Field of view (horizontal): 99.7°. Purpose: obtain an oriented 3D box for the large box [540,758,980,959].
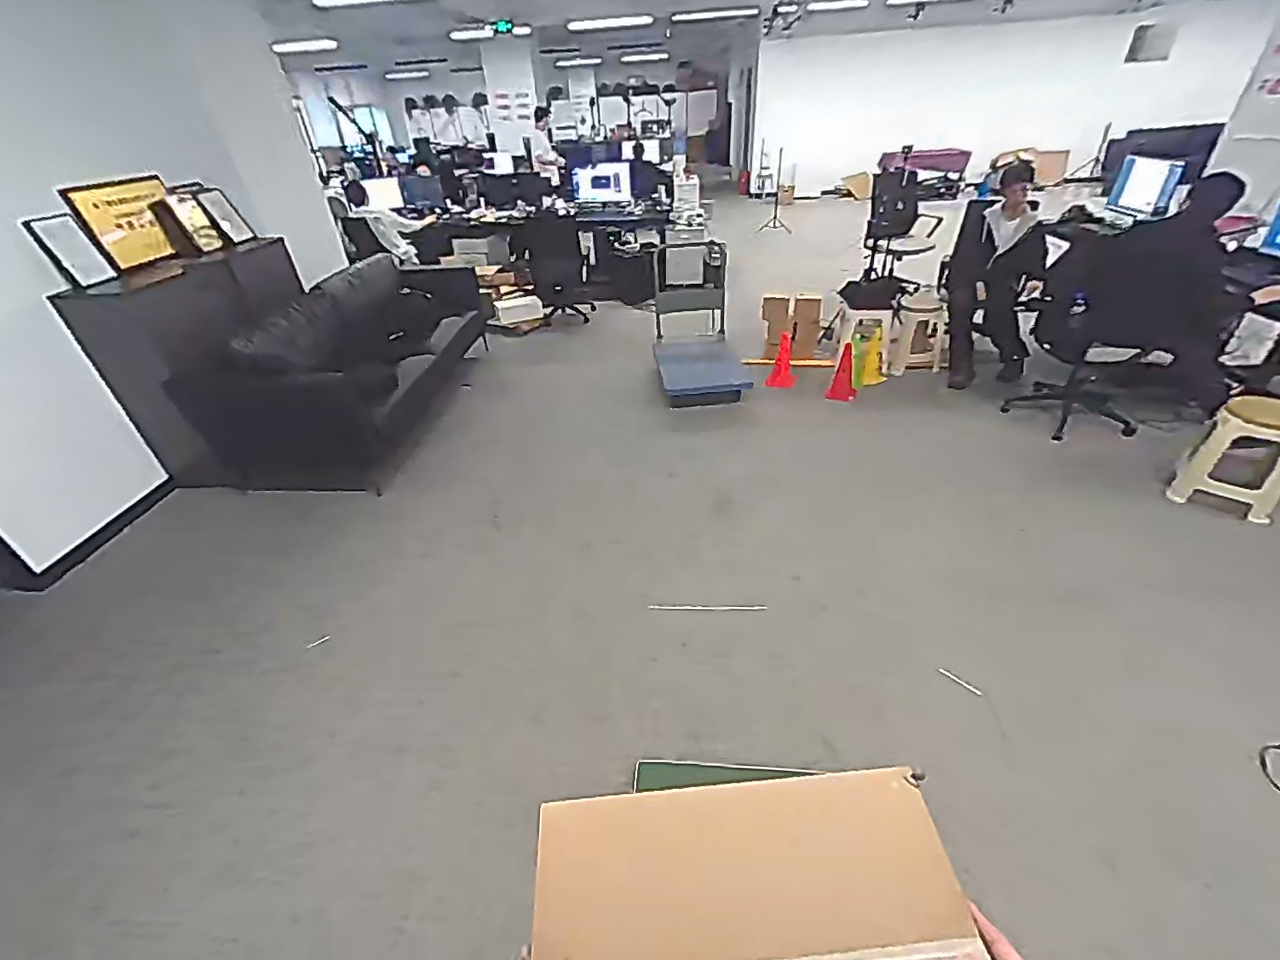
[{"bbox_3d":[0.111,0.545,0.590,0.408,0.320,0.320,-5,43,-2],"label":"large box"}]
